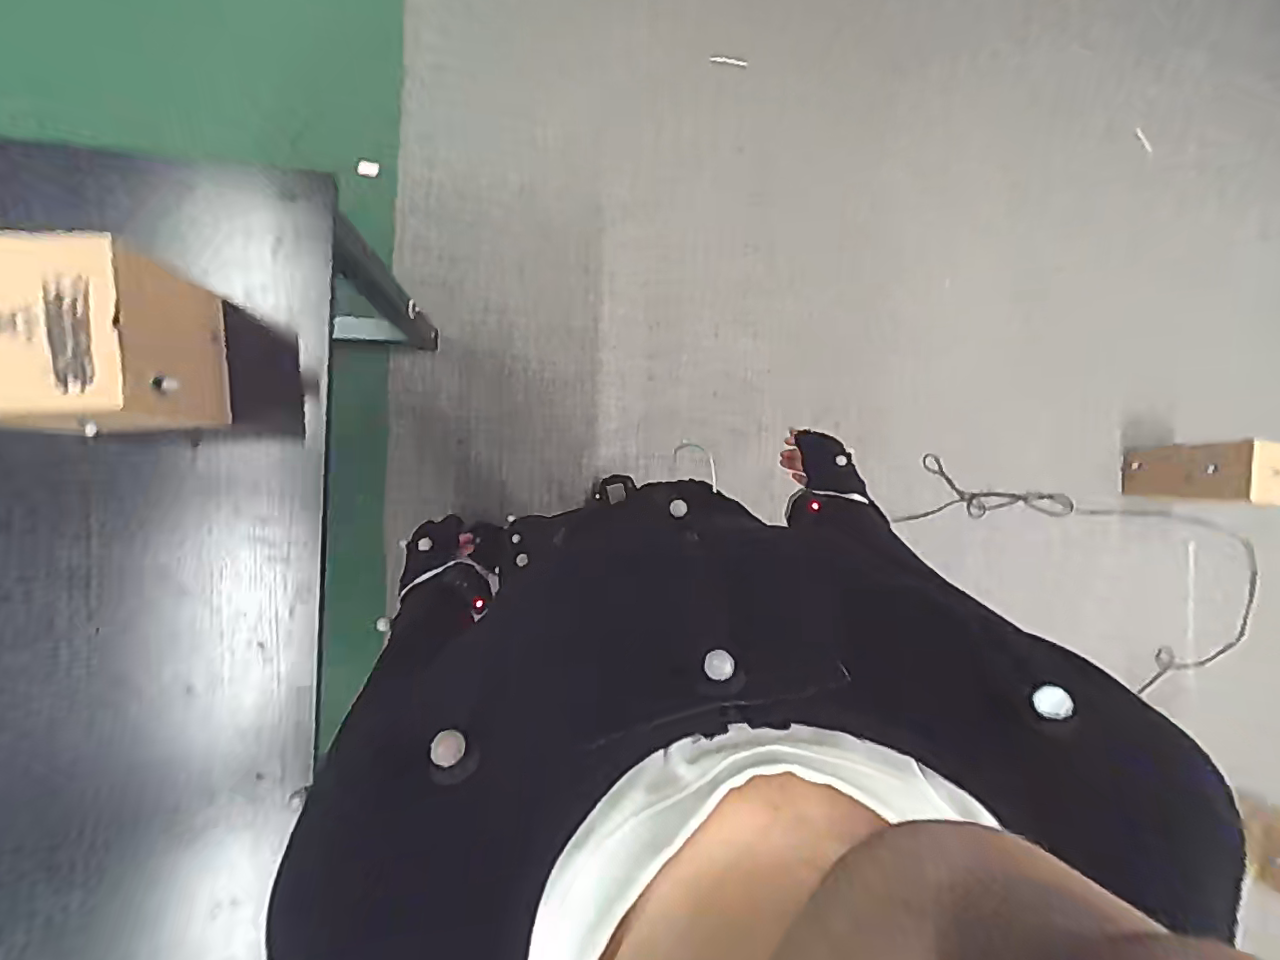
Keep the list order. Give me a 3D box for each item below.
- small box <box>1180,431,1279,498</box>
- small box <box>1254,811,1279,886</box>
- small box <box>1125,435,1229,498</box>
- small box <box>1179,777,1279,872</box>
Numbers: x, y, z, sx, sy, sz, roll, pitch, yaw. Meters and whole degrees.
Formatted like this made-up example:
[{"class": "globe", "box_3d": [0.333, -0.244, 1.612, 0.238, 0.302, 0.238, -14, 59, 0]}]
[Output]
[{"class": "small box", "box_3d": [1.677, -0.038, 1.516, 0.179, 0.176, 0.168, 6, 89, -10]}, {"class": "small box", "box_3d": [1.714, 0.956, 1.352, 0.179, 0.176, 0.168, 4, 90, -8]}, {"class": "small box", "box_3d": [1.659, -0.040, 1.663, 0.179, 0.176, 0.168, 8, 89, -9]}, {"class": "small box", "box_3d": [1.680, 0.955, 1.511, 0.179, 0.176, 0.168, 4, 90, -8]}]
